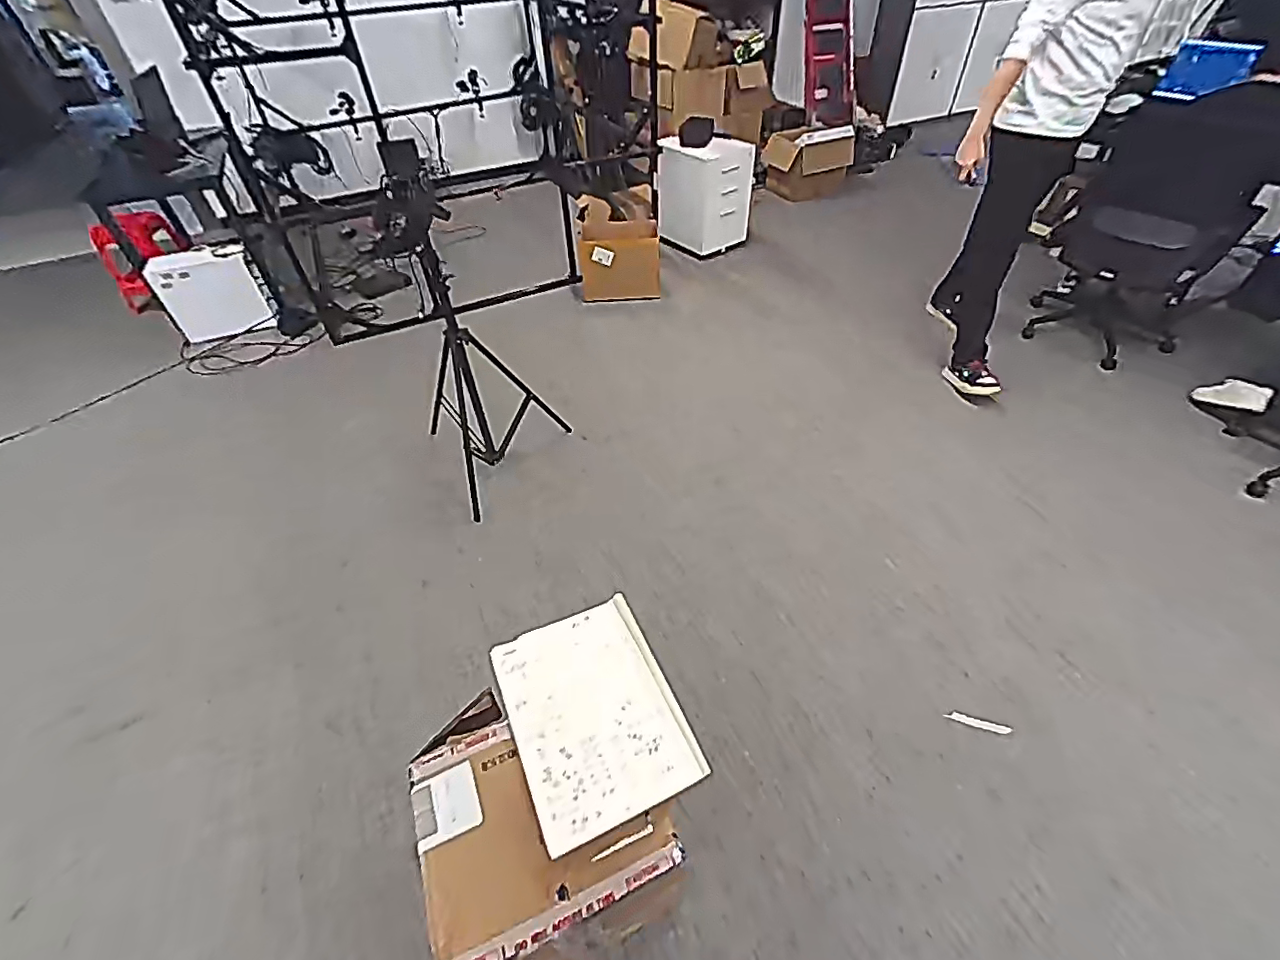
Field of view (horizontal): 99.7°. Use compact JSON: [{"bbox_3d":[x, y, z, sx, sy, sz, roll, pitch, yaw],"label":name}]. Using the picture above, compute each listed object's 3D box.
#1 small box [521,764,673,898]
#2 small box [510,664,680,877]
[{"bbox_3d":[-0.067,0.504,0.840,0.179,0.176,0.168,-21,49,-19],"label":"small box"},{"bbox_3d":[-0.063,0.388,0.724,0.168,0.176,0.179,-18,49,-18],"label":"small box"}]
